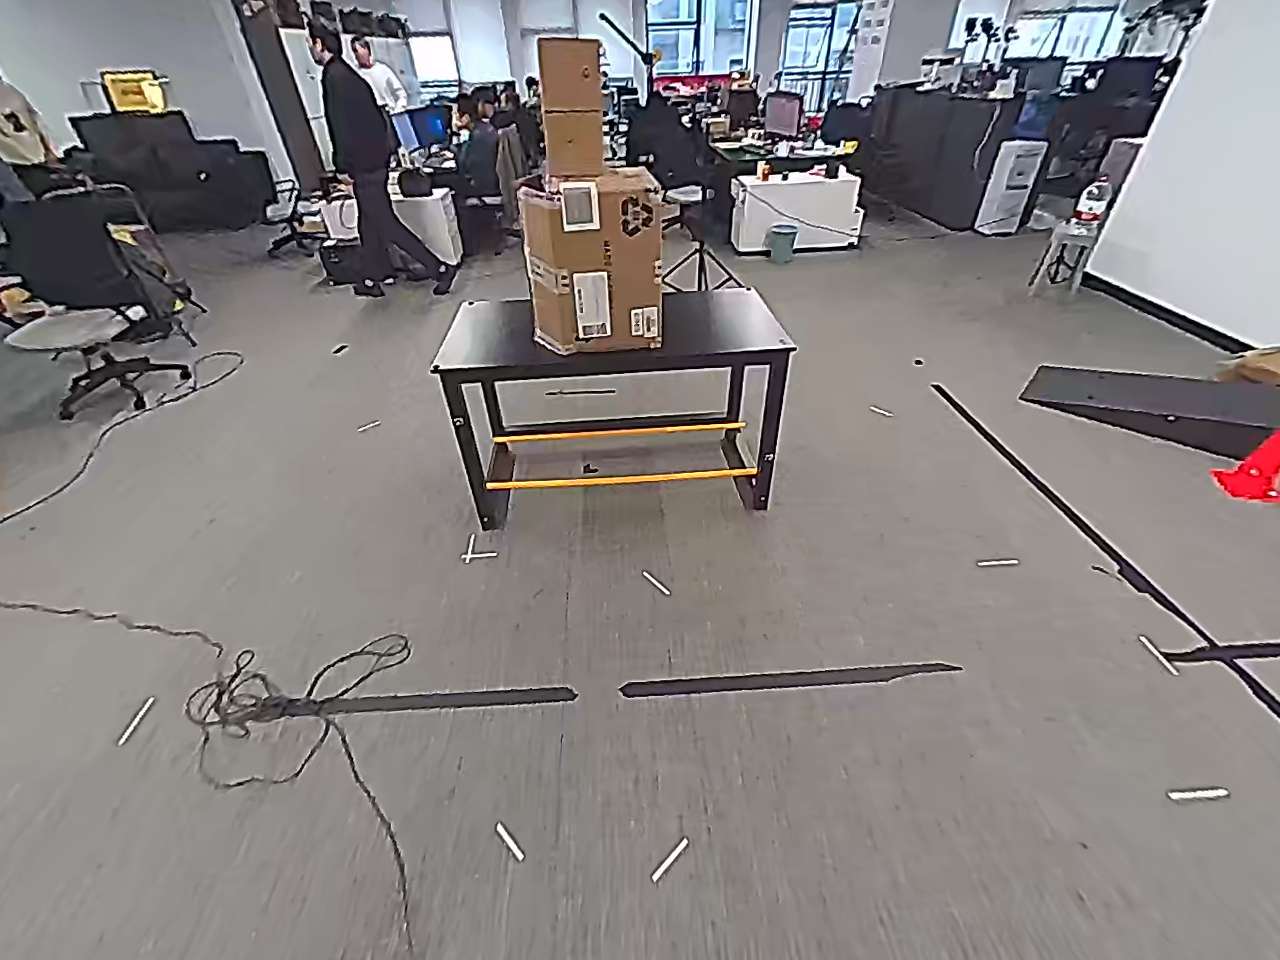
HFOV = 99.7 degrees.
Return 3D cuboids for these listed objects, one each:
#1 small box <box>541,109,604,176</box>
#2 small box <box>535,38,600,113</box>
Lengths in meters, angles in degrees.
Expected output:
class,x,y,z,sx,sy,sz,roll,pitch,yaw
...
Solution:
class,x,y,z,sx,sy,sz,roll,pitch,yaw
small box,-0.210,-1.053,1.686,0.179,0.176,0.168,-6,36,-6
small box,-0.211,-1.183,1.586,0.179,0.176,0.168,-7,35,-8
